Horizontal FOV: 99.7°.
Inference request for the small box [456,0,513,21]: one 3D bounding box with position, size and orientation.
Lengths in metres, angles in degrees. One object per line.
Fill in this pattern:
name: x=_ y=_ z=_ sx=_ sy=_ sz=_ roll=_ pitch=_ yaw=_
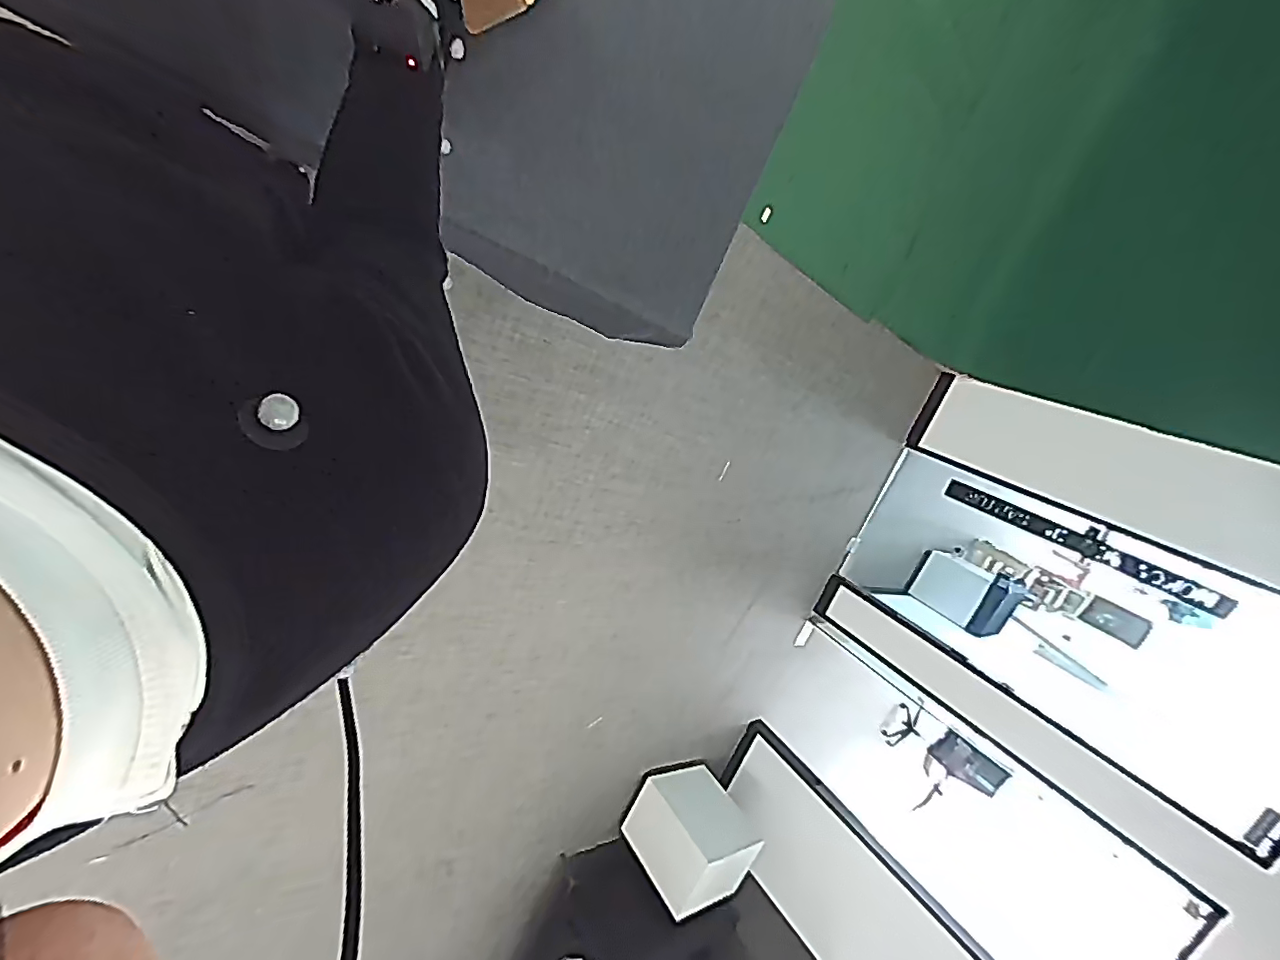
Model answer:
small box: x=-0.152 y=-0.636 z=0.570 sx=0.179 sy=0.176 sz=0.168 roll=-47 pitch=134 yaw=-3
